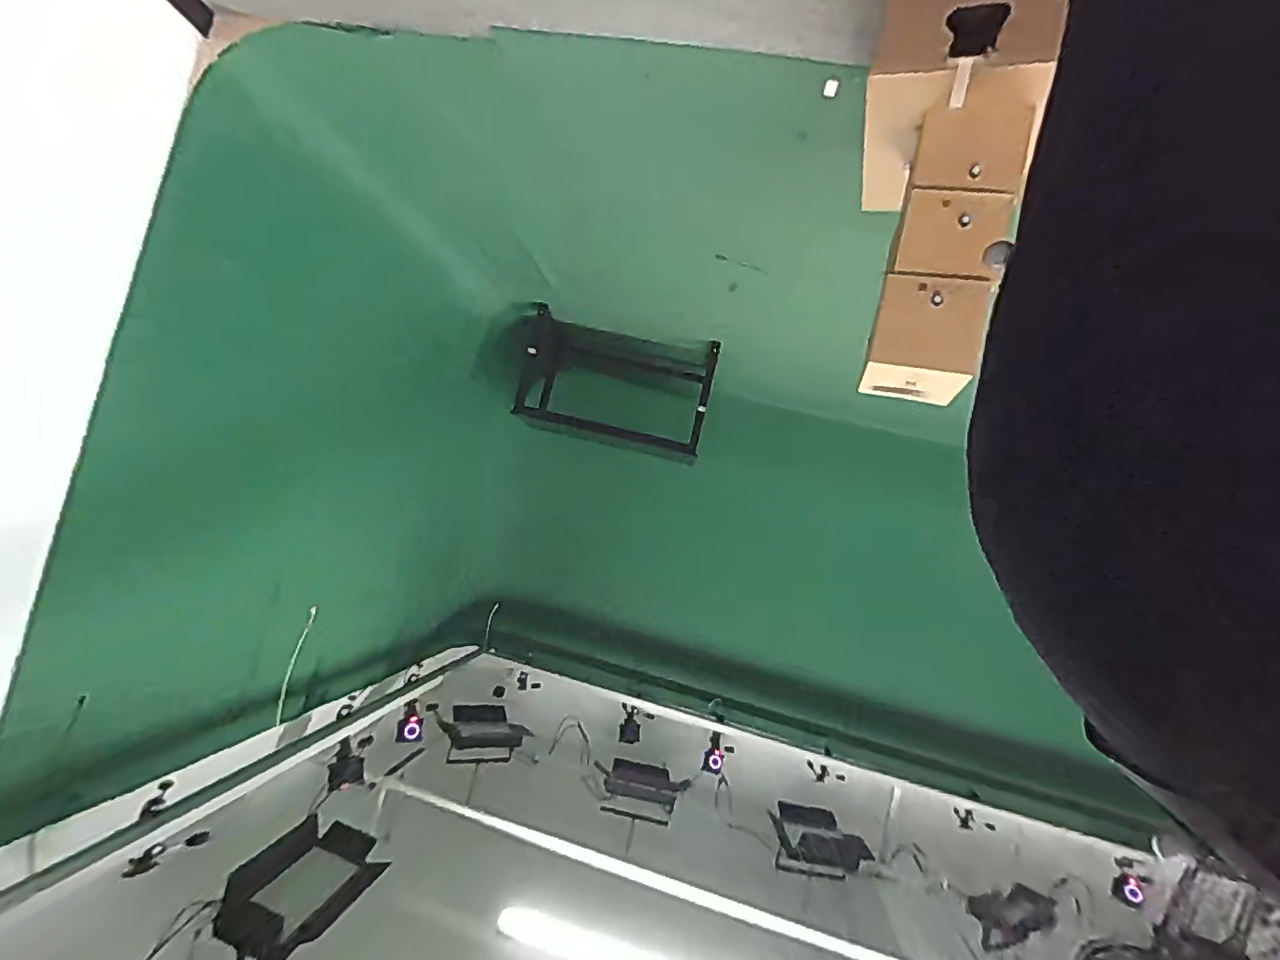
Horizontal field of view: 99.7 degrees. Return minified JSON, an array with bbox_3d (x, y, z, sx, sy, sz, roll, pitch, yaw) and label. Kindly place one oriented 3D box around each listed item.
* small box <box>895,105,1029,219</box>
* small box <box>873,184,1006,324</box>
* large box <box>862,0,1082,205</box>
[{"bbox_3d":[0.597,-0.571,1.020,0.179,0.176,0.168,12,176,17],"label":"small box"},{"bbox_3d":[0.552,-0.415,1.008,0.168,0.176,0.179,12,175,15],"label":"small box"},{"bbox_3d":[0.635,-0.811,1.071,0.320,0.320,0.408,13,178,22],"label":"large box"}]
